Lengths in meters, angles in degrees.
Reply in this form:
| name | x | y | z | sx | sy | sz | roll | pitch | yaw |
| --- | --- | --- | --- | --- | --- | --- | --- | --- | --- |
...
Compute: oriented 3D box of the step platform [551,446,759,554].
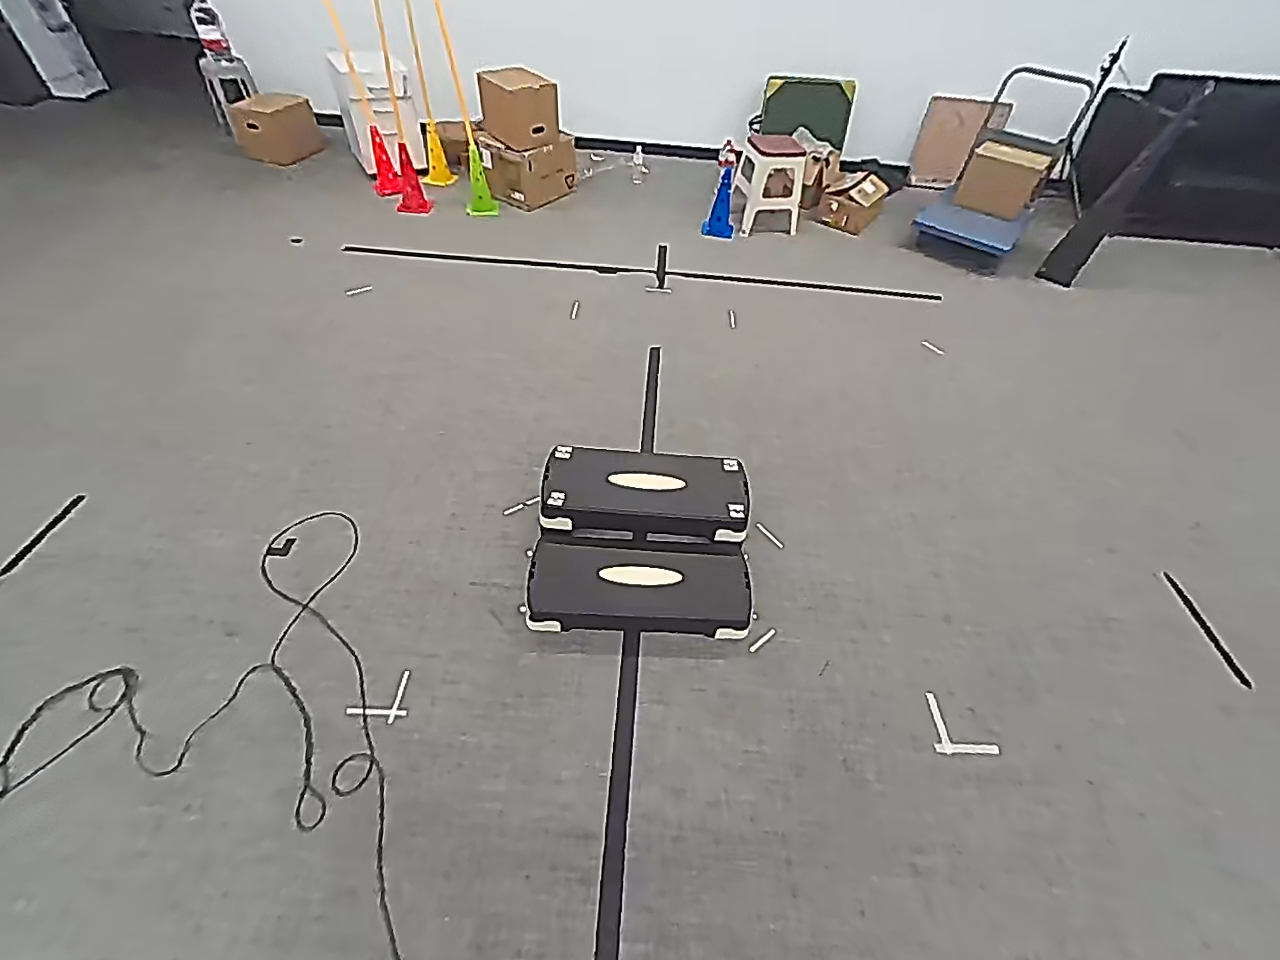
| name | x | y | z | sx | sy | sz | roll | pitch | yaw |
| --- | --- | --- | --- | --- | --- | --- | --- | --- | --- |
| step platform | 0.050 | 0.064 | 1.817 | 0.684 | 0.204 | 0.286 | 4 | 48 | -3 |
